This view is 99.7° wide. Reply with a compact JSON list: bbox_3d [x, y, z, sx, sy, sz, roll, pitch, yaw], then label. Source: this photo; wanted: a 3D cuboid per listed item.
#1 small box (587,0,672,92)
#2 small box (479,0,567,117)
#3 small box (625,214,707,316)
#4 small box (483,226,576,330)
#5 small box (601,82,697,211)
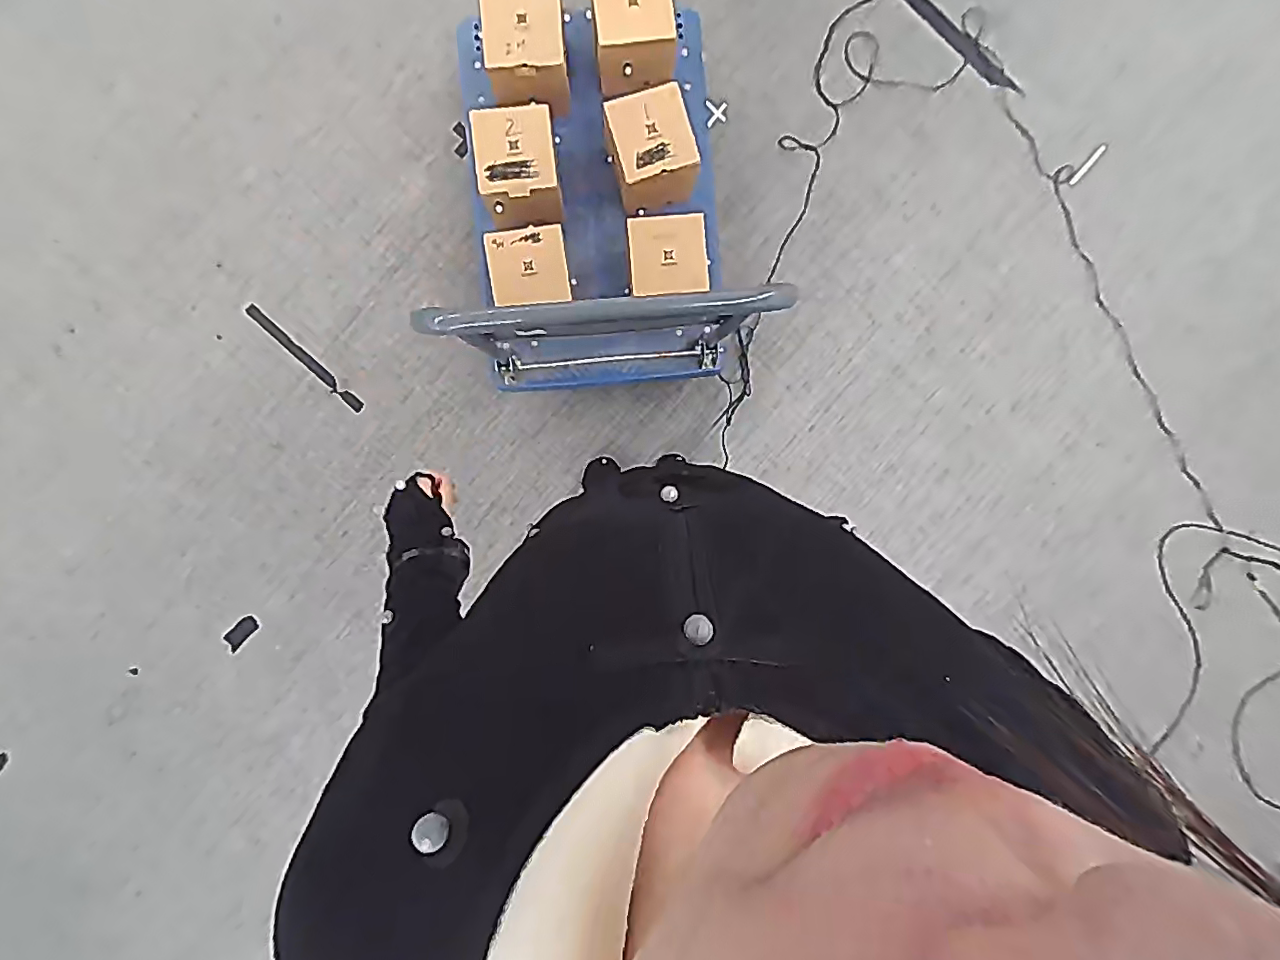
[{"bbox_3d":[-0.026,-1.003,1.204,0.168,0.176,0.179,-9,93,-2],"label":"small box"},{"bbox_3d":[-0.253,-0.943,1.194,0.168,0.176,0.179,-4,94,-2],"label":"small box"},{"bbox_3d":[0.055,-0.479,1.232,0.168,0.176,0.179,-5,92,-3],"label":"small box"},{"bbox_3d":[-0.241,-0.445,1.219,0.168,0.176,0.179,-9,94,-3],"label":"small box"},{"bbox_3d":[0.018,-0.734,1.217,0.168,0.176,0.179,-18,92,-1],"label":"small box"}]
